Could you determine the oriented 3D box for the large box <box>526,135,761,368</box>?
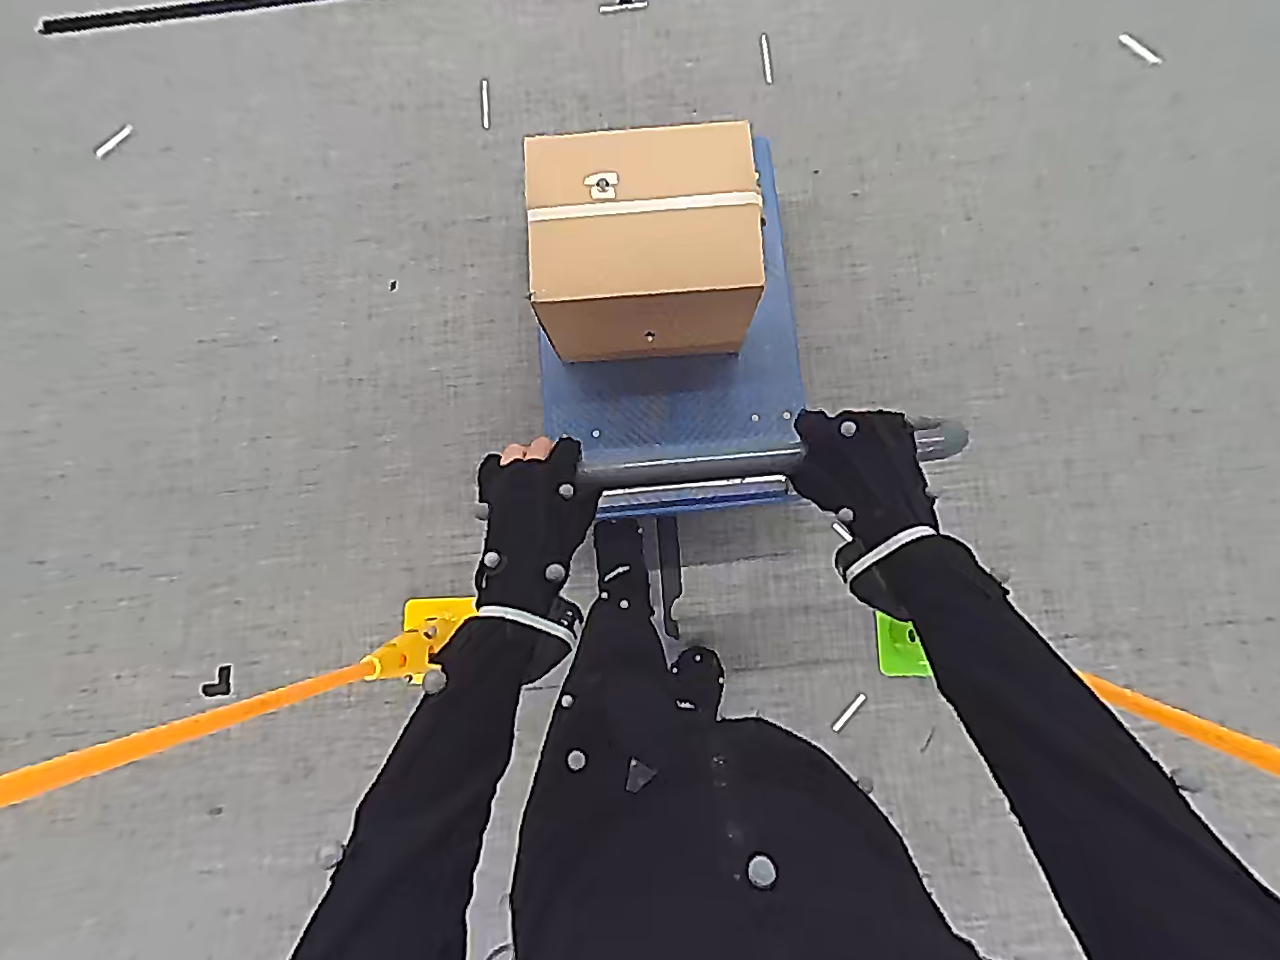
[{"bbox_3d":[0.009,-0.433,1.100,0.408,0.320,0.320,-4,82,2],"label":"large box"}]

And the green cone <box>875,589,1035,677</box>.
[{"bbox_3d":[0.655,0.332,1.101,0.202,0.368,0.200,-1,81,1],"label":"green cone"}]
